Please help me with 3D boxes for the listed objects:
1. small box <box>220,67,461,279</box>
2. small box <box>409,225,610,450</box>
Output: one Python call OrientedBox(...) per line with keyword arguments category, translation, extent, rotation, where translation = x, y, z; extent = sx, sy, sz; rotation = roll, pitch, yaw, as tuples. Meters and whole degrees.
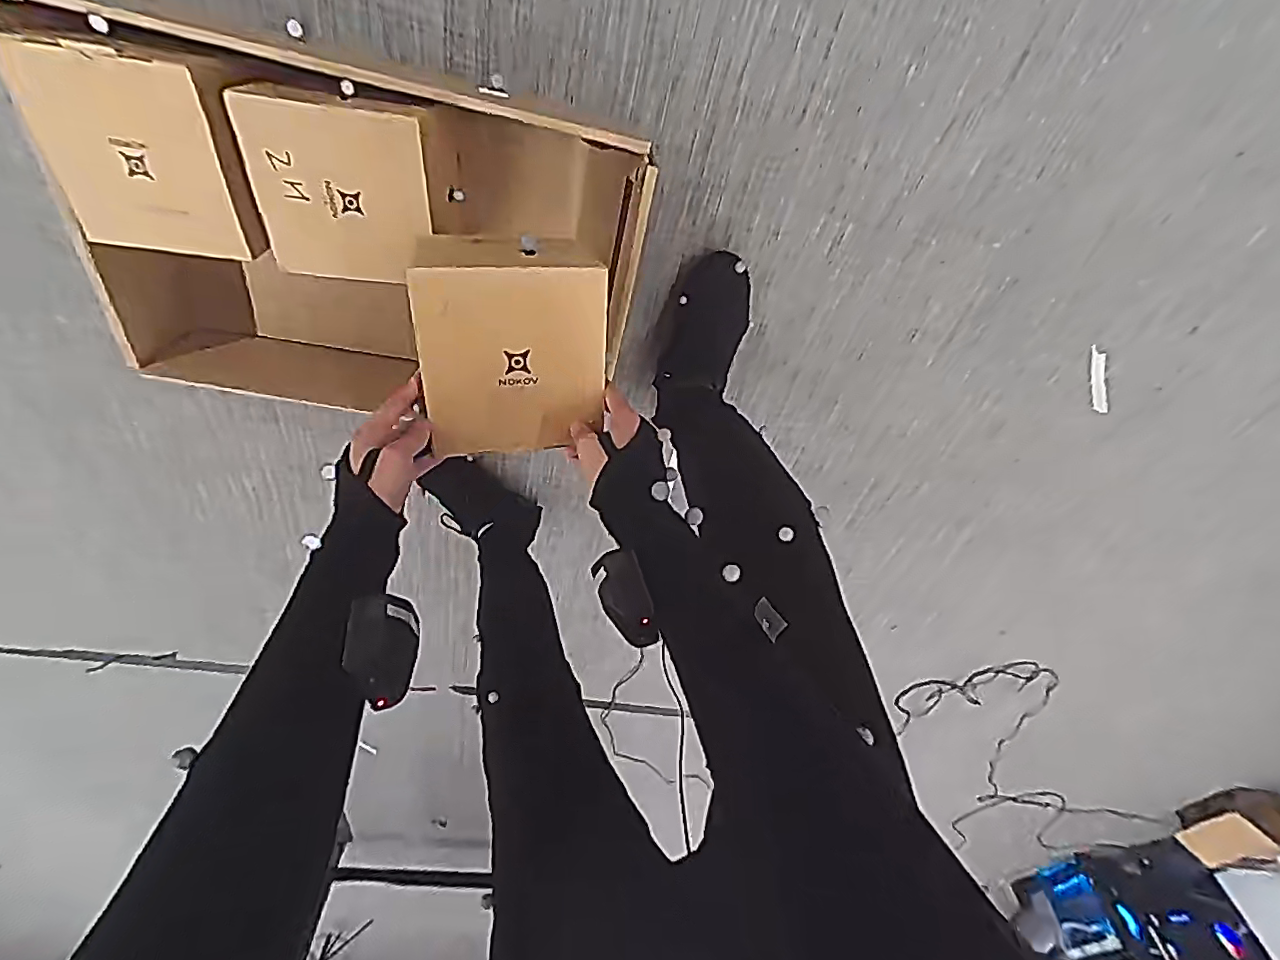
OrientedBox(category="small box", translation=(-0.303, -0.342, 0.601), extent=(0.179, 0.176, 0.168), rotation=(4, 131, -7))
OrientedBox(category="small box", translation=(-0.131, -0.152, 0.546), extent=(0.168, 0.176, 0.179), rotation=(-6, 125, -15))
